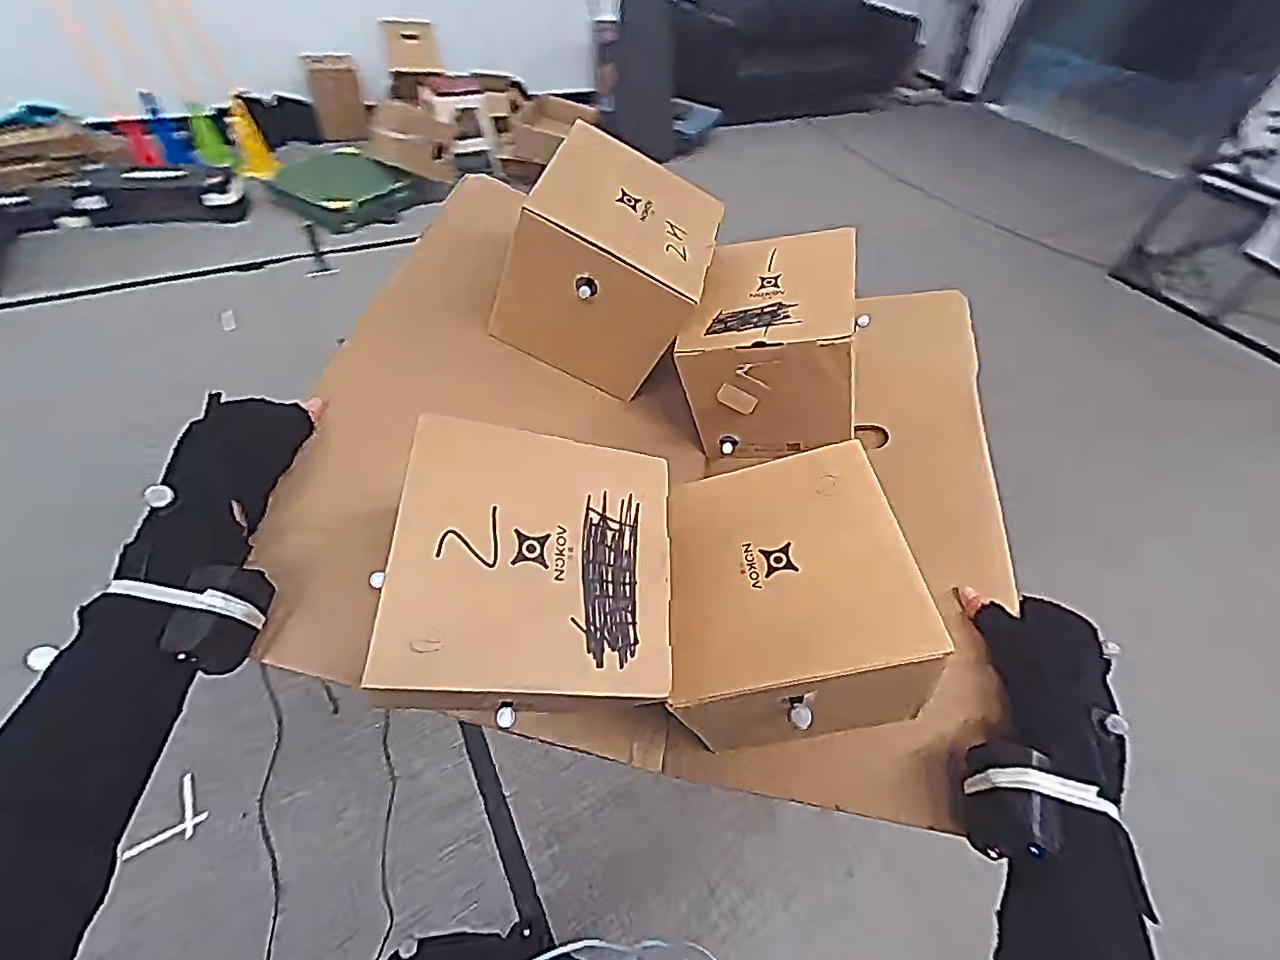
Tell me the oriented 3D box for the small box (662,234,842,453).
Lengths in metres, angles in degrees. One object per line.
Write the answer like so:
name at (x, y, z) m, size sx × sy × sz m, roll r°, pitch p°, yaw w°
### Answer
small box at (0.138, -0.143, 0.613) m, size 0.168 × 0.176 × 0.179 m, roll 0°, pitch 54°, yaw 21°
